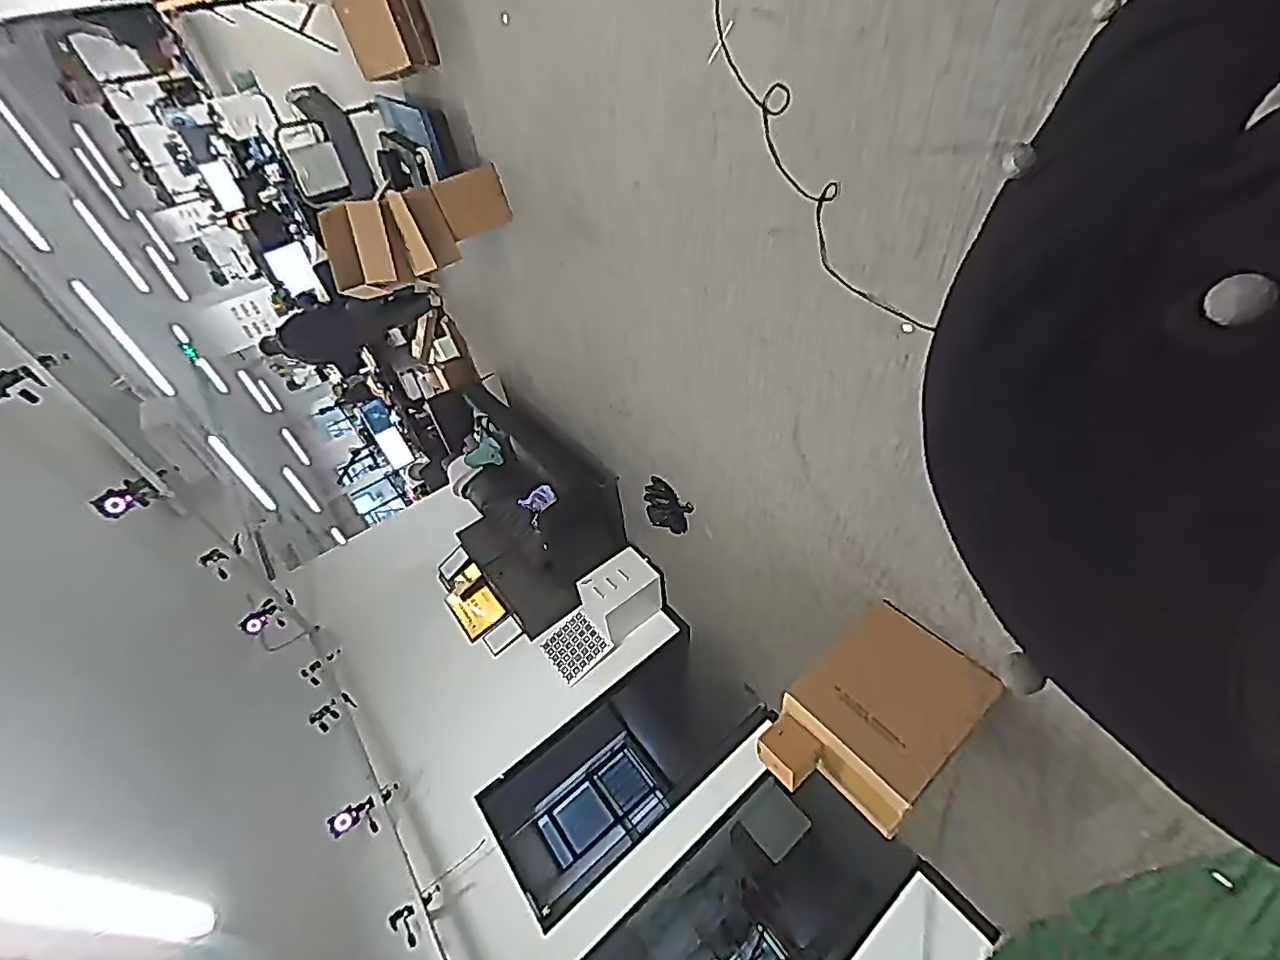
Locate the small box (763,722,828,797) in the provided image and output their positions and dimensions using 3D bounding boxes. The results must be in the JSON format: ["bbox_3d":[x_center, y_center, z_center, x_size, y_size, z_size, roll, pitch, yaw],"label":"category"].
[{"bbox_3d":[0.602,1.076,2.104,0.179,0.176,0.168,32,143,45],"label":"small box"}]
